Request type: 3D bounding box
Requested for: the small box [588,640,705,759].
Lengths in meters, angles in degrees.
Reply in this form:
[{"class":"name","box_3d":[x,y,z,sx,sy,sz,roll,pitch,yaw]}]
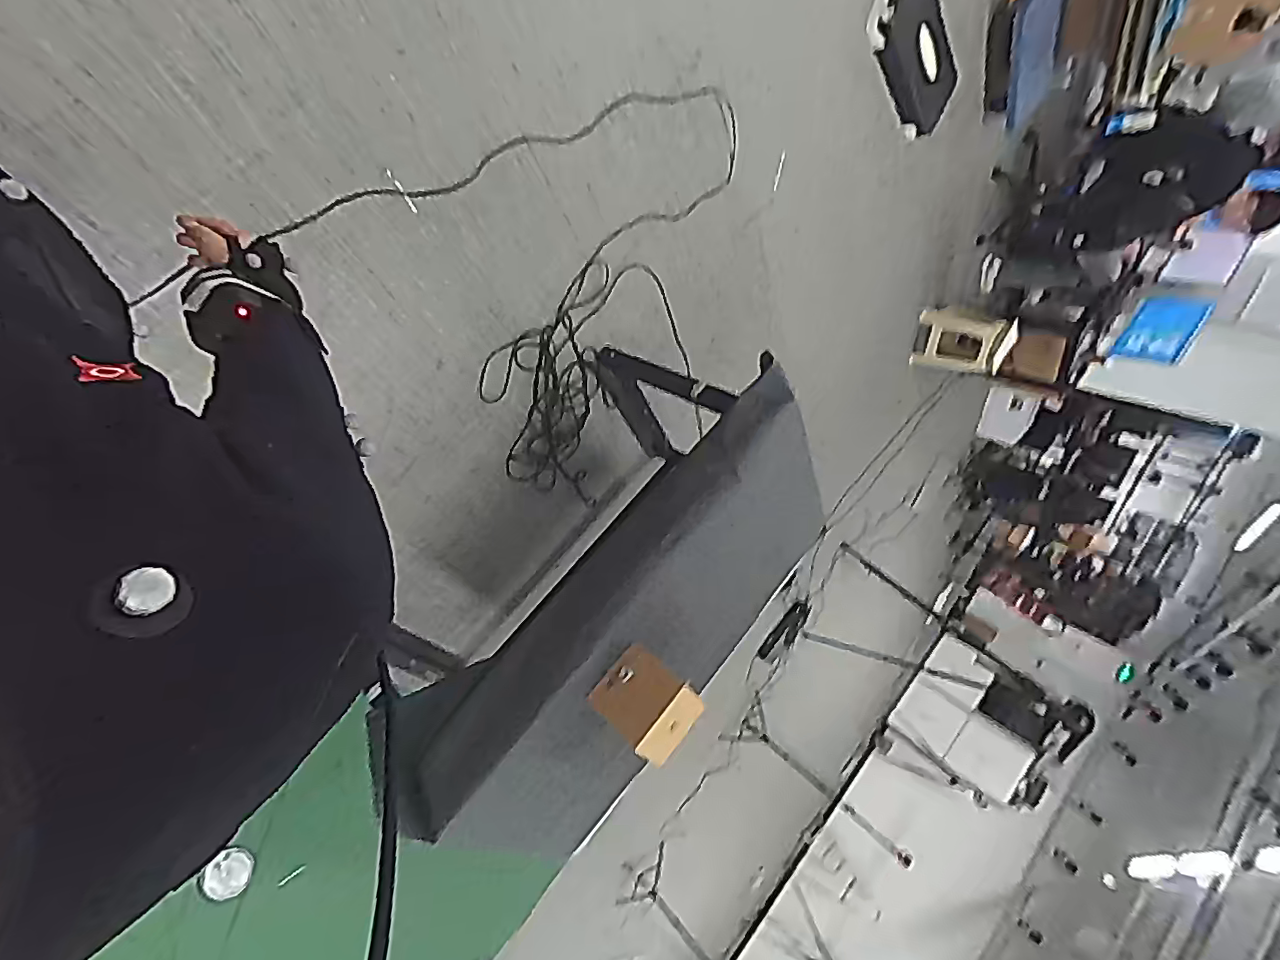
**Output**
[{"class":"small box","box_3d":[0.015,0.492,1.224,0.168,0.176,0.179,-49,140,-14]}]
